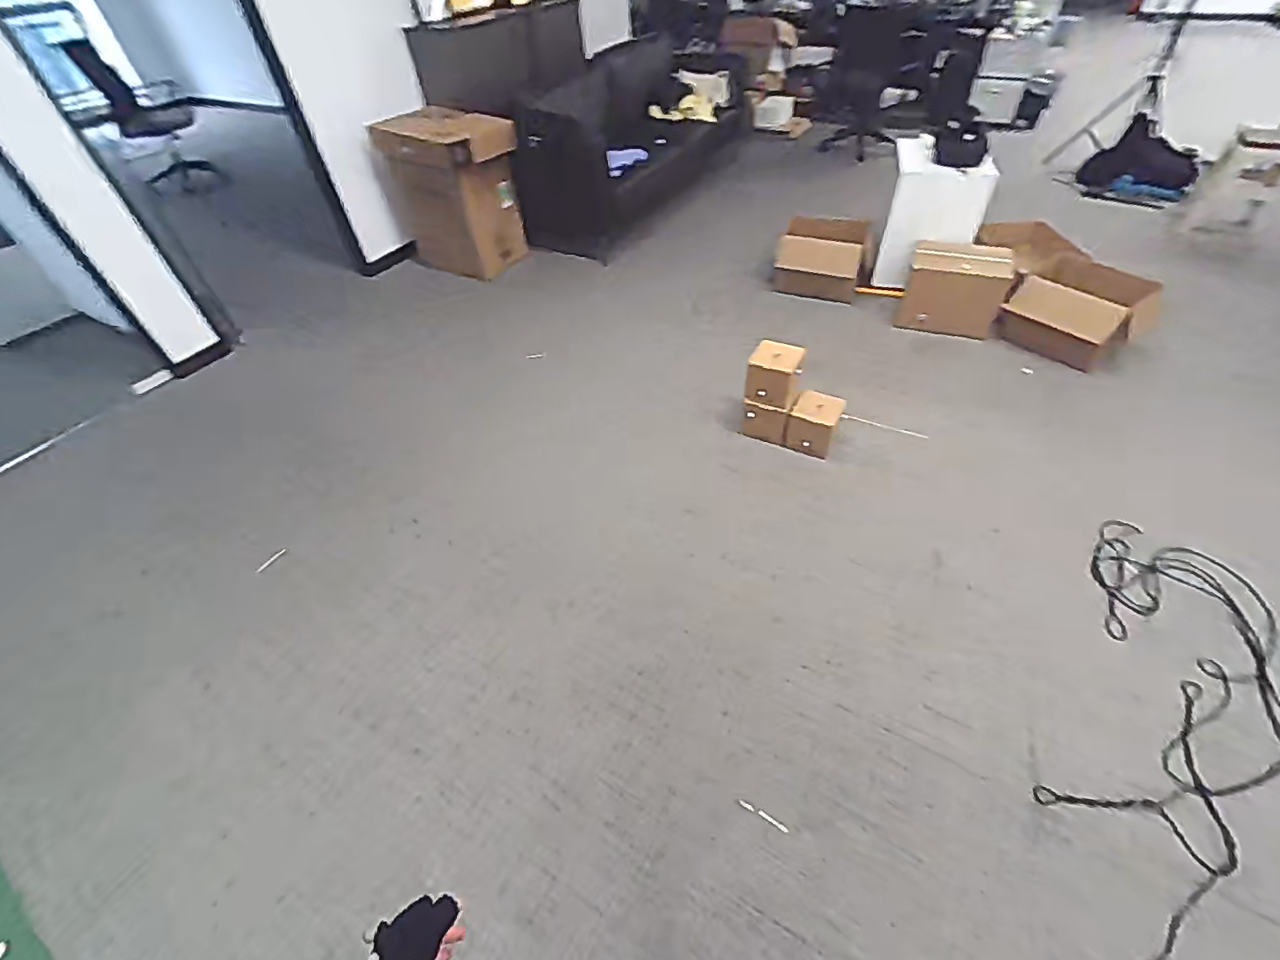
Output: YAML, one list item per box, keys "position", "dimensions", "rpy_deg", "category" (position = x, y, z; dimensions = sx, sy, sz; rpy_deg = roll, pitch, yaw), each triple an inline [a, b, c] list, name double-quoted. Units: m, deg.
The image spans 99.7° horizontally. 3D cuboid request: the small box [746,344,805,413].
- position: [0.510, -0.385, 2.052]
  dimensions: [0.168, 0.176, 0.179]
  rpy_deg: [19, 50, 21]
  category: "small box"
